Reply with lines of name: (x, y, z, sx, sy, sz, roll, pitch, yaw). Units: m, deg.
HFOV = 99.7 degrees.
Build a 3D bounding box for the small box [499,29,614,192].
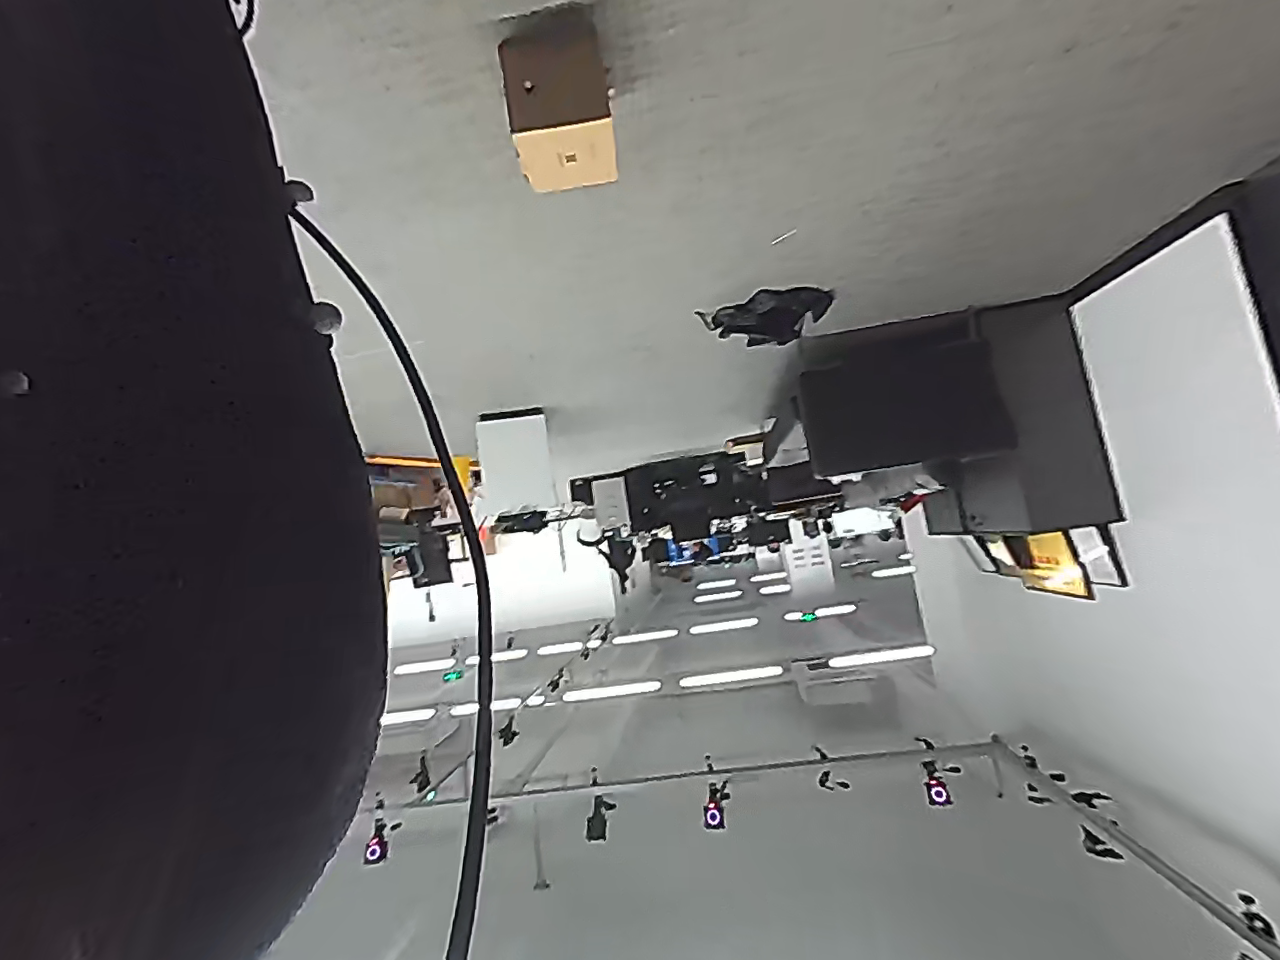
small box: (-0.150, -0.667, 0.987, 0.179, 0.176, 0.168, -10, 175, 1)
